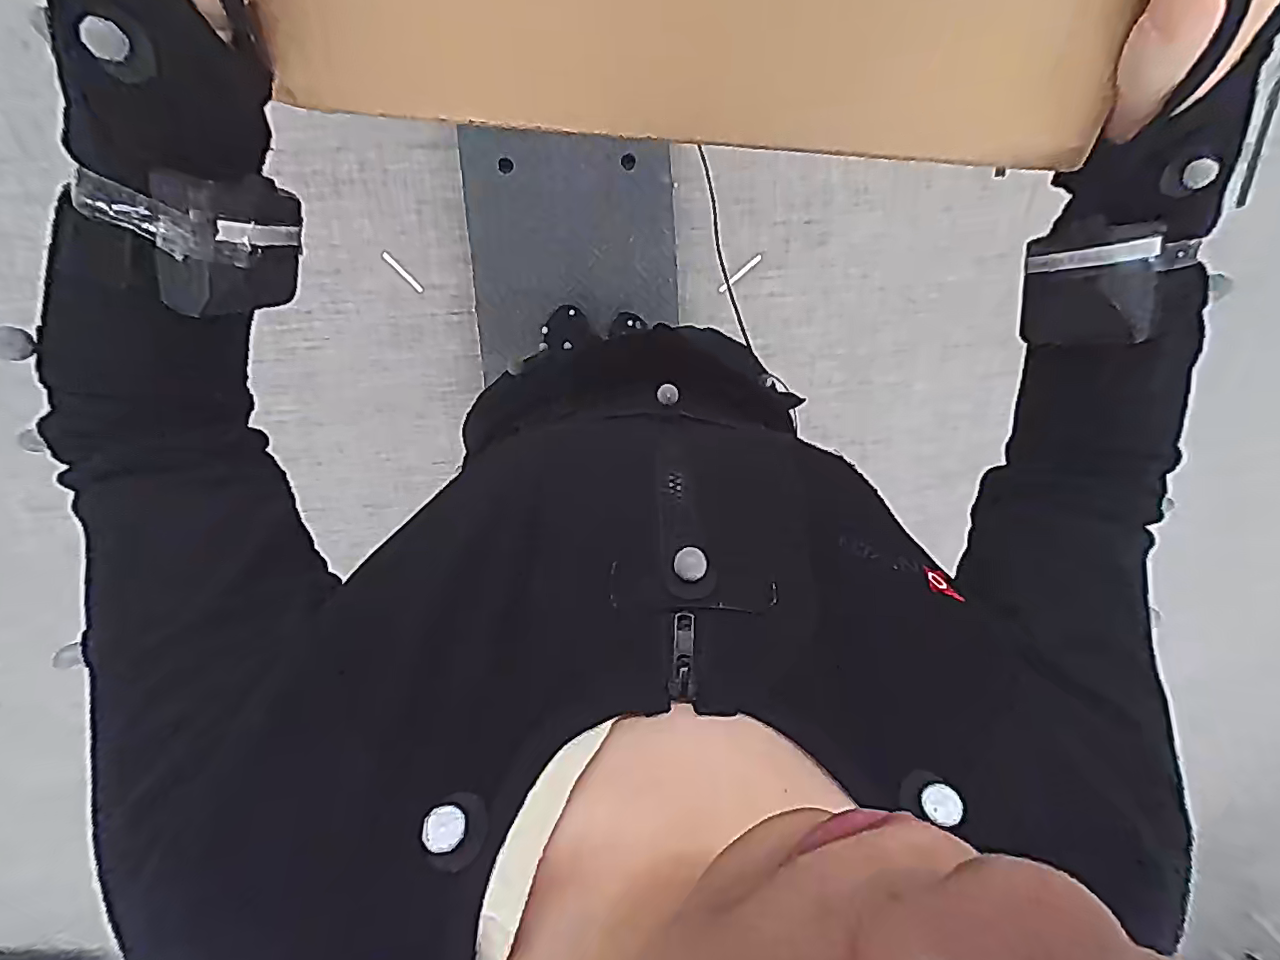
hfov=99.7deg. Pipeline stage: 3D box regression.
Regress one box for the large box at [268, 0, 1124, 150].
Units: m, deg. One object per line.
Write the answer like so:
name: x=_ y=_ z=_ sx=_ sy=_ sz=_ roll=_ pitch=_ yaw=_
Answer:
large box: x=0.027 y=-0.390 z=0.308 sx=0.408 sy=0.320 sz=0.320 roll=0 pitch=126 yaw=-7
